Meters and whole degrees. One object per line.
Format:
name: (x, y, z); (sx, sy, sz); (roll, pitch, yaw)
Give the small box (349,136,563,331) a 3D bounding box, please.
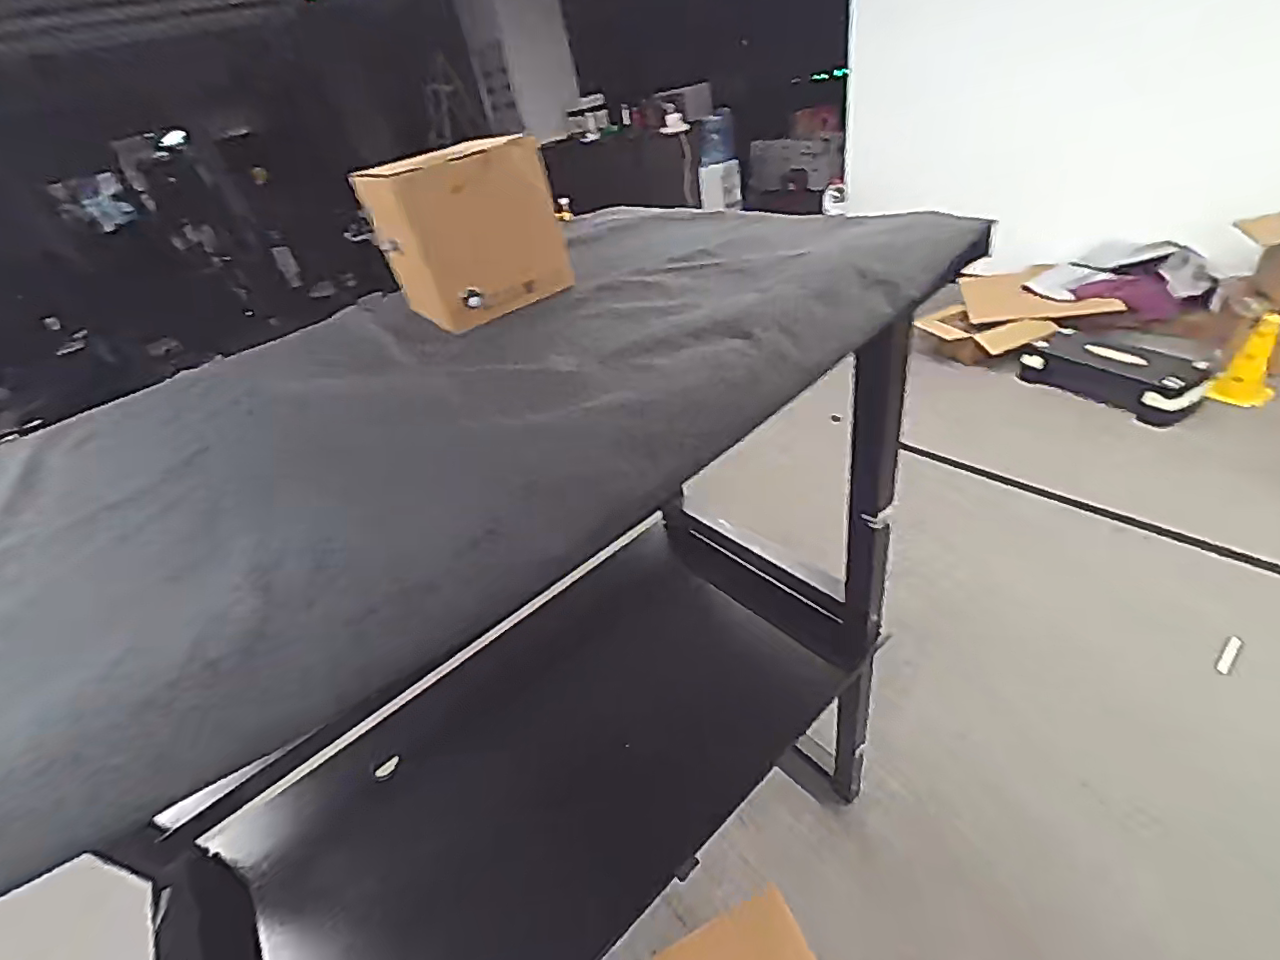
small box: (-0.217, -0.299, 0.662); (0.168, 0.176, 0.179); (-32, 40, -22)
